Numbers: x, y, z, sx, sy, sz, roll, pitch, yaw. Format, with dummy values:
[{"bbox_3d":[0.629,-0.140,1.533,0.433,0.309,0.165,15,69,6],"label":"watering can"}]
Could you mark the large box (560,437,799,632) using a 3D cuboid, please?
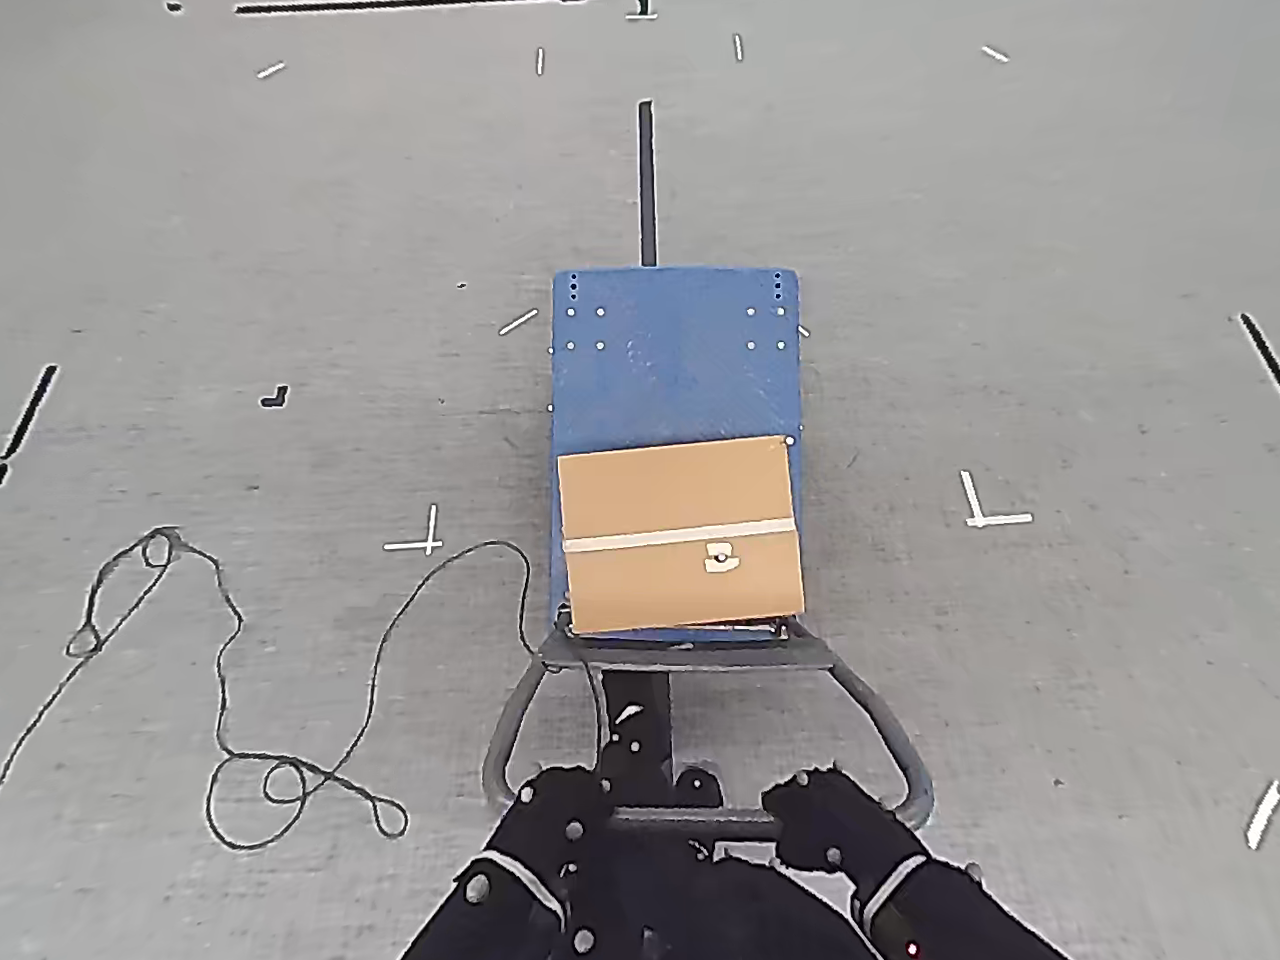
[{"bbox_3d":[0.068,0.104,1.112,0.408,0.320,0.320,-6,88,0],"label":"large box"}]
